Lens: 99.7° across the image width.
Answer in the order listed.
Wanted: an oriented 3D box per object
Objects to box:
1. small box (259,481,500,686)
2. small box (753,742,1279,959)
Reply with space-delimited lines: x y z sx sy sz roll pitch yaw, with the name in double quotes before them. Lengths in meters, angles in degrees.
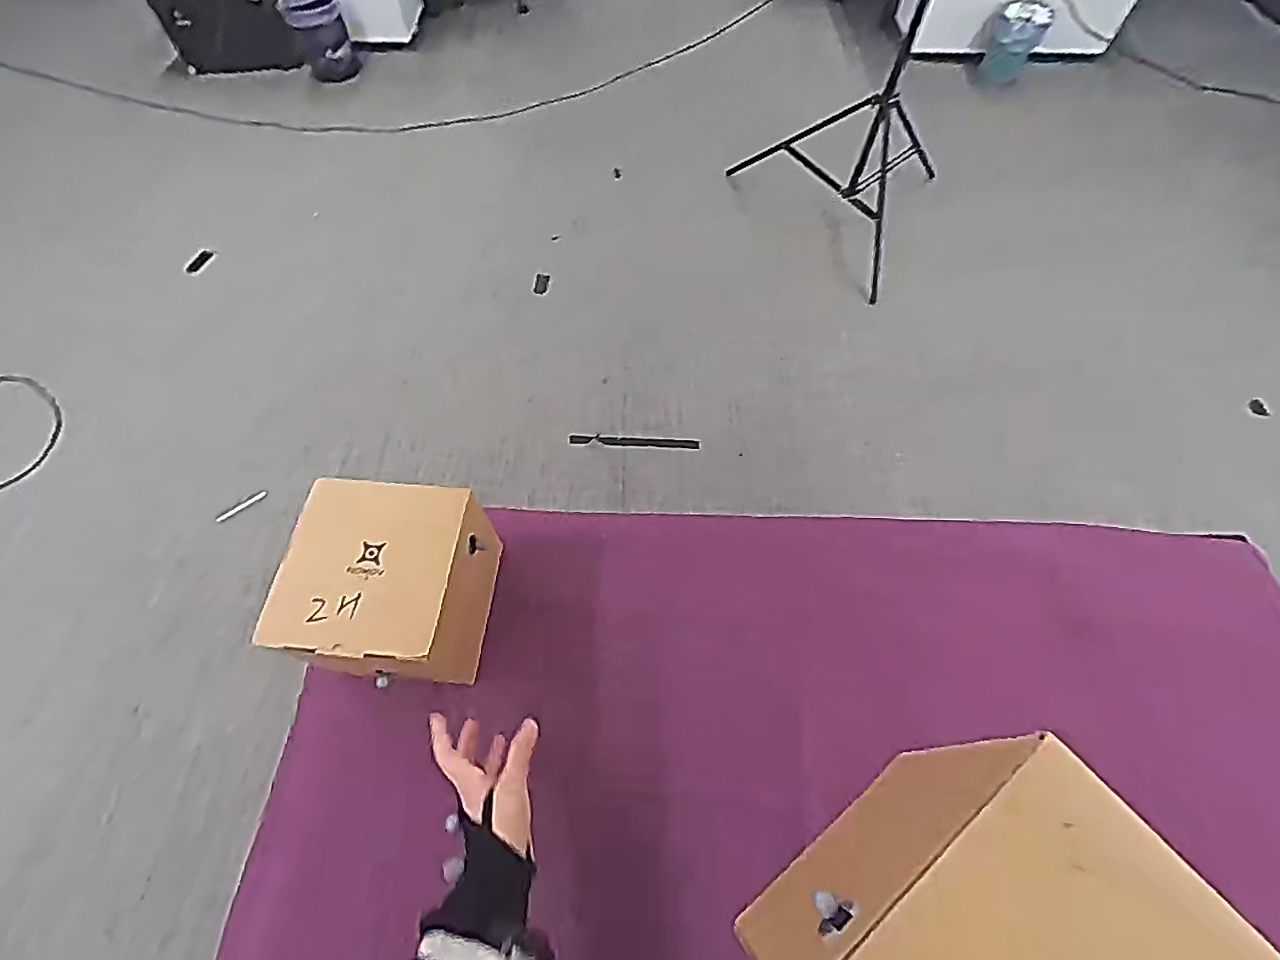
"small box" -0.262 0.121 0.600 0.168 0.176 0.179 4 63 1
"small box" 0.183 0.267 0.283 0.179 0.176 0.168 -34 66 -17
